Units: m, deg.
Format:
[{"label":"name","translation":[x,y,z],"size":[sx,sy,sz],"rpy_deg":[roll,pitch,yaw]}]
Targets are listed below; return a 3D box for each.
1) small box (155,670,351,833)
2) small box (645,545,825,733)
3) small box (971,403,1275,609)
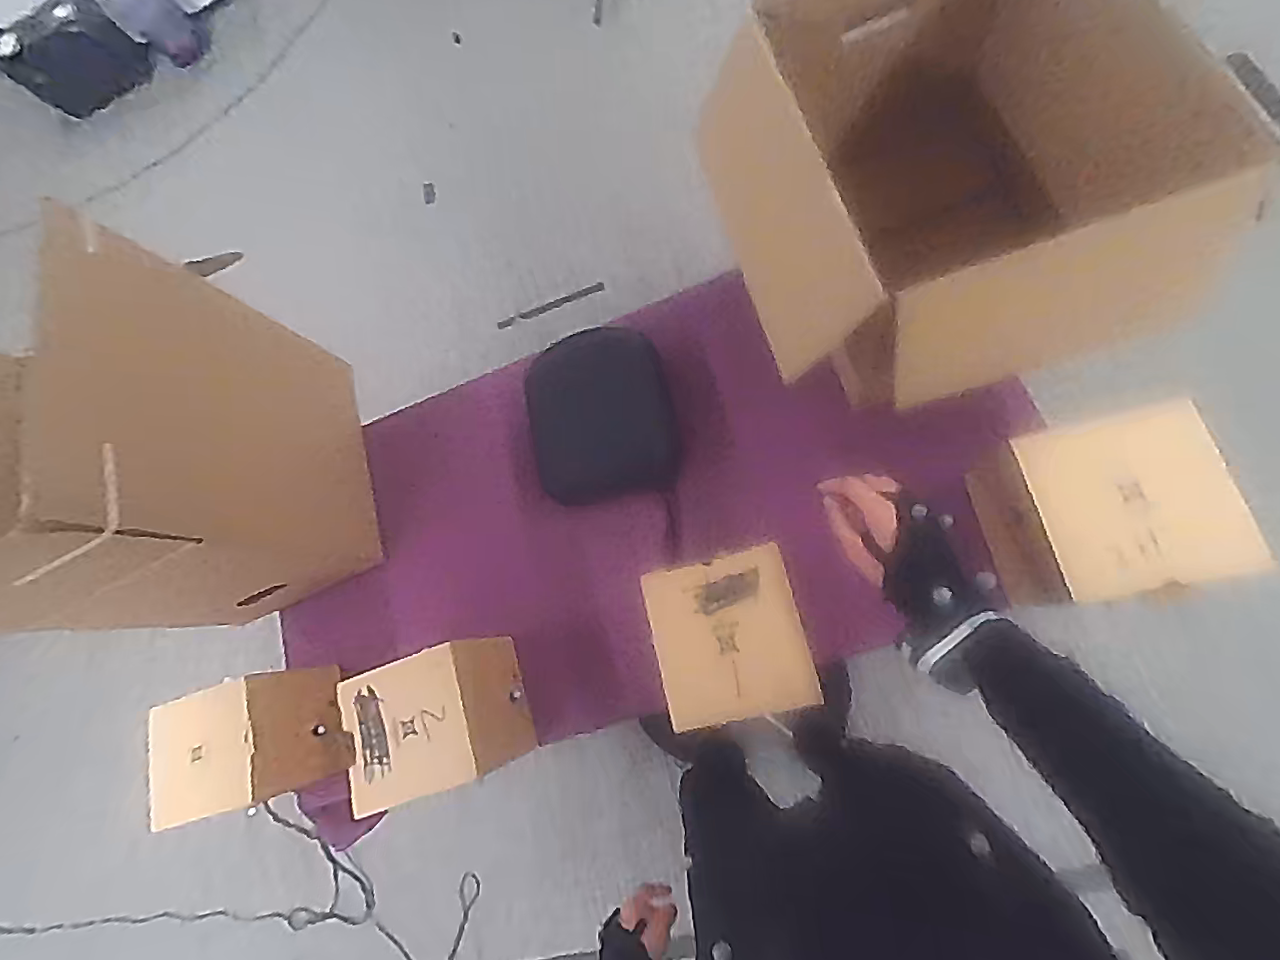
[{"label":"small box","translation":[-0.575,0.397,0.815],"size":[0.179,0.176,0.168],"rpy_deg":[-20,72,9]},{"label":"small box","translation":[0.118,0.193,0.671],"size":[0.168,0.176,0.179],"rpy_deg":[-17,74,12]},{"label":"small box","translation":[0.499,0.041,0.599],"size":[0.168,0.176,0.179],"rpy_deg":[-14,73,13]}]
